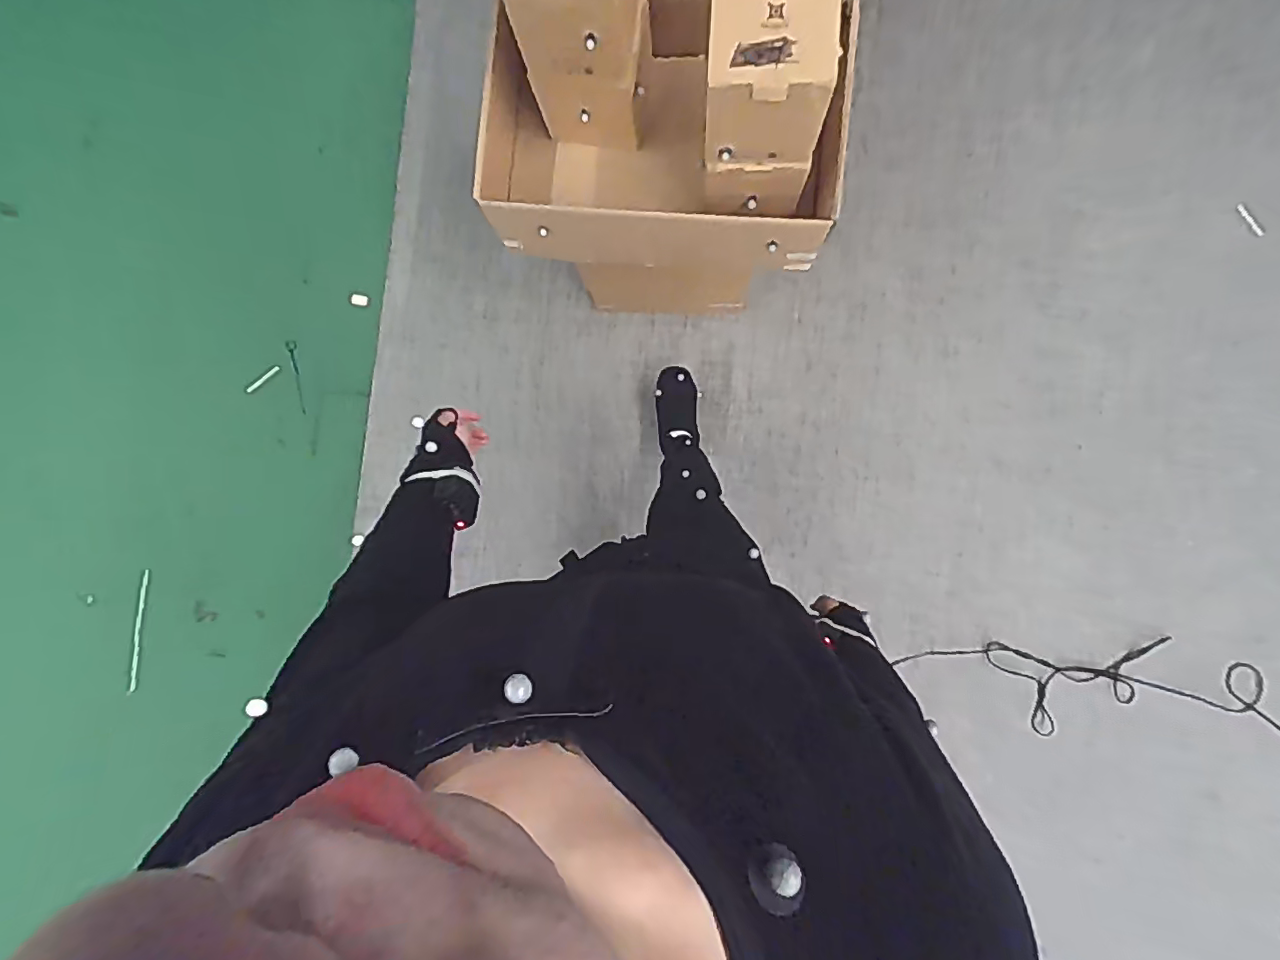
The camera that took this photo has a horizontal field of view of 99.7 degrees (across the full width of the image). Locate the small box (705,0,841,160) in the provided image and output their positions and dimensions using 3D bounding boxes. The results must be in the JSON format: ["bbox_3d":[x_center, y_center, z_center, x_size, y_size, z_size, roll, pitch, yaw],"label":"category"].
[{"bbox_3d":[0.181,-0.587,0.772,0.168,0.176,0.179,4,89,5],"label":"small box"}]

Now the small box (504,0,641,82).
[{"bbox_3d":[-0.092,-0.736,0.800,0.168,0.176,0.179,8,89,4],"label":"small box"}]
